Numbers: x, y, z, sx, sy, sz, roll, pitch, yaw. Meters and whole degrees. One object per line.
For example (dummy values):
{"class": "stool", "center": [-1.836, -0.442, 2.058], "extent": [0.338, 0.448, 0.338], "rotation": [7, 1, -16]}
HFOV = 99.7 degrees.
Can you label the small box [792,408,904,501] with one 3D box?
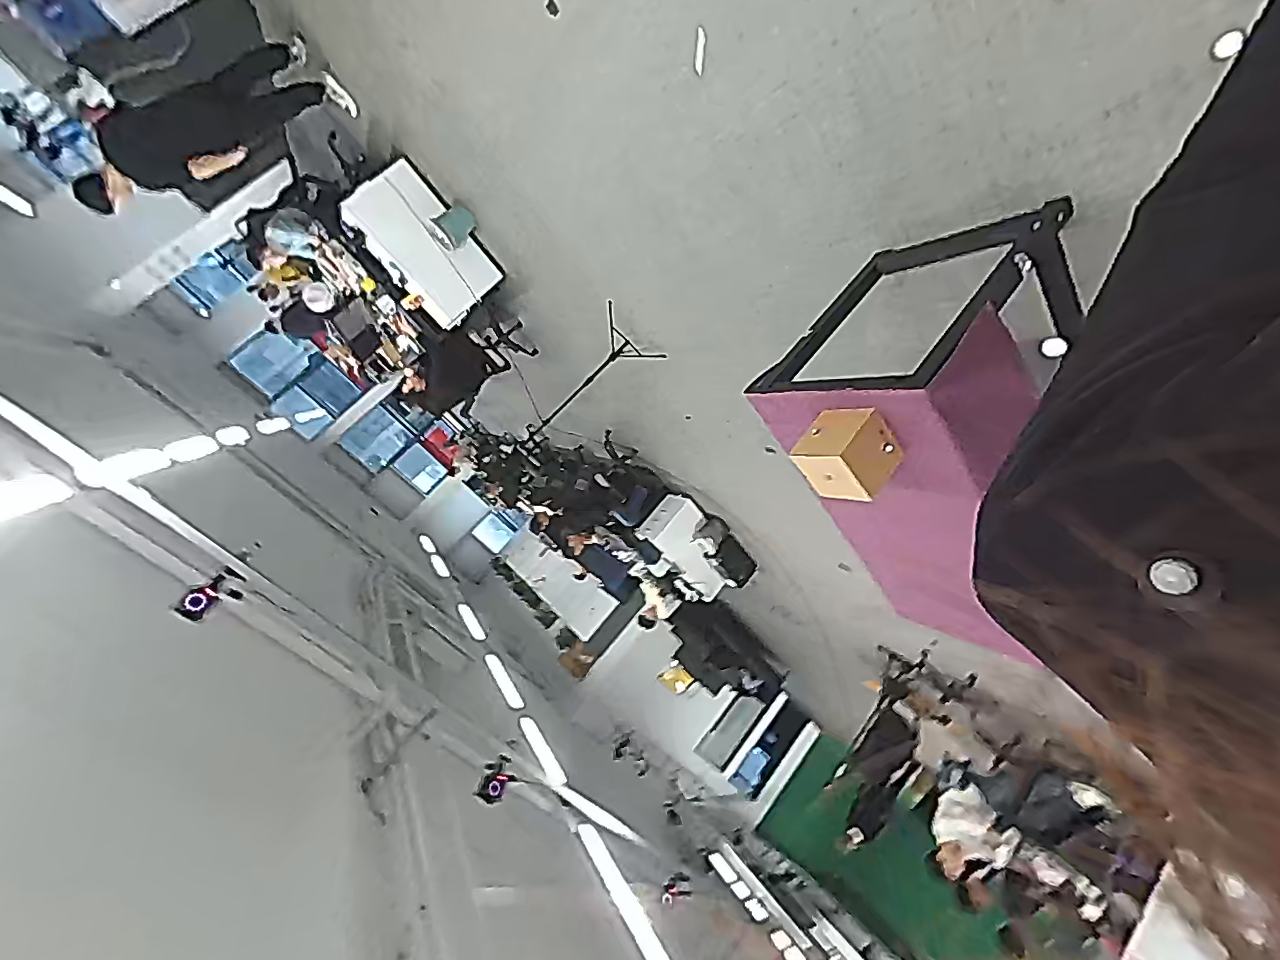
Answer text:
{"class": "small box", "center": [0.536, -0.070, 1.393], "extent": [0.168, 0.176, 0.179], "rotation": [46, 165, -22]}
